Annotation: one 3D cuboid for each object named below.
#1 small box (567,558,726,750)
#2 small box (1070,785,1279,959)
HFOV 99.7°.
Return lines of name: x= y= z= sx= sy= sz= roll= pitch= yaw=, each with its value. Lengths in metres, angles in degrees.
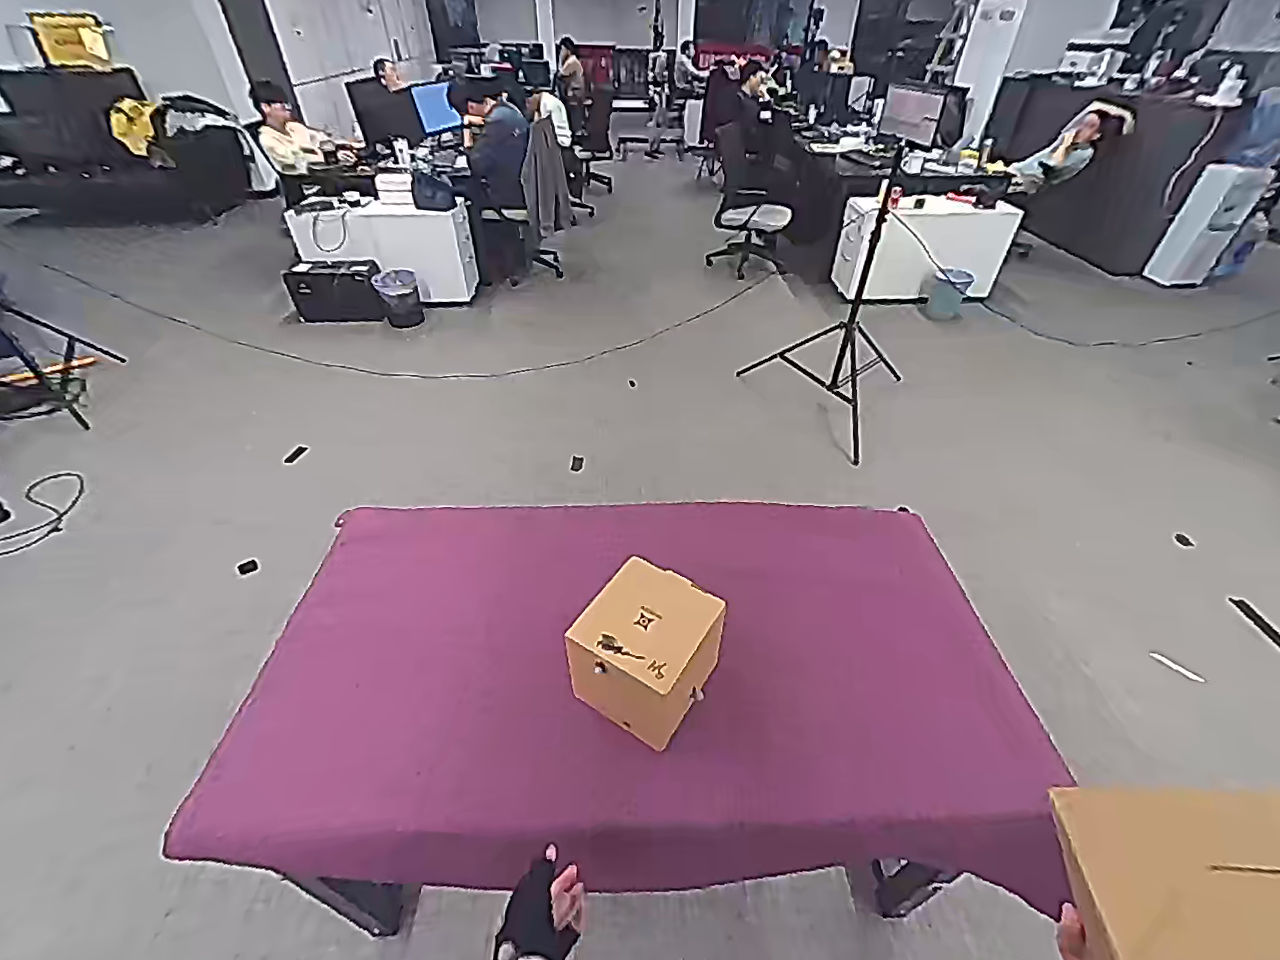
small box: x=0.009 y=0.256 z=0.808 sx=0.168 sy=0.176 sz=0.179 roll=23 pitch=44 yaw=25
small box: x=0.326 y=0.261 z=0.242 sx=0.168 sy=0.176 sz=0.179 roll=-13 pitch=-9 yaw=28
